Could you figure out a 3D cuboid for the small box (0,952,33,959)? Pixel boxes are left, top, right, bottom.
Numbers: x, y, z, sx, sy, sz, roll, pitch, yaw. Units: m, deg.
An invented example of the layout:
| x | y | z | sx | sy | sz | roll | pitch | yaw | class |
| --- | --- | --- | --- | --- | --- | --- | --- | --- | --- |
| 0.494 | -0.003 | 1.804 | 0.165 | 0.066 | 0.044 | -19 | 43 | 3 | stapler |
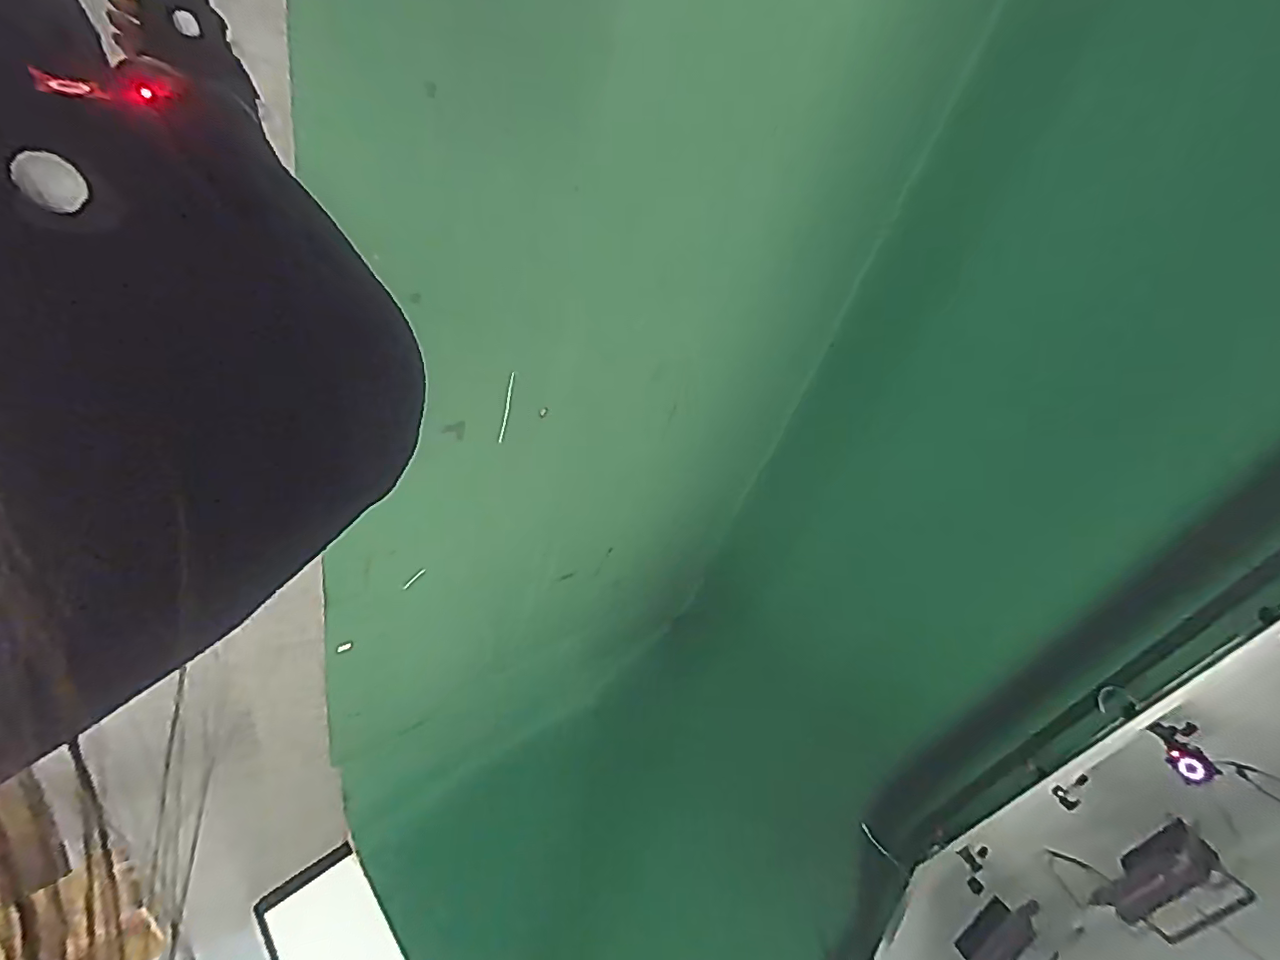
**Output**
| x | y | z | sx | sy | sz | roll | pitch | yaw | class |
| --- | --- | --- | --- | --- | --- | --- | --- | --- | --- |
| -1.575 | 1.288 | 1.294 | 0.168 | 0.176 | 0.179 | -27 | 144 | -39 | small box |
